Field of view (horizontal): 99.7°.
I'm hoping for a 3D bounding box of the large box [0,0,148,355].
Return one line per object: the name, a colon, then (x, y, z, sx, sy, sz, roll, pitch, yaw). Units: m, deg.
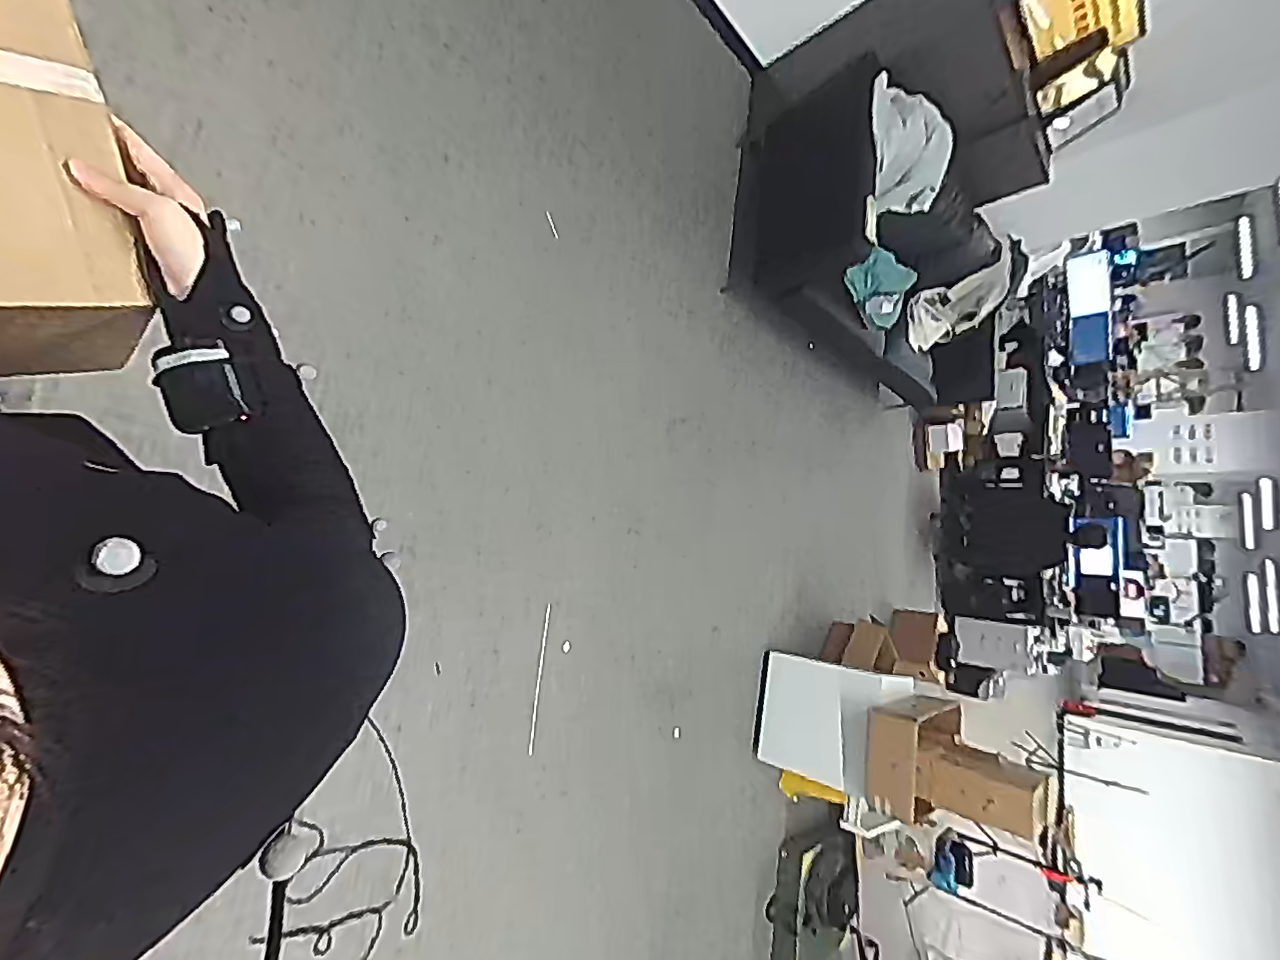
large box: (-0.650, -0.250, 0.351, 0.408, 0.320, 0.320, -21, 105, -48)
